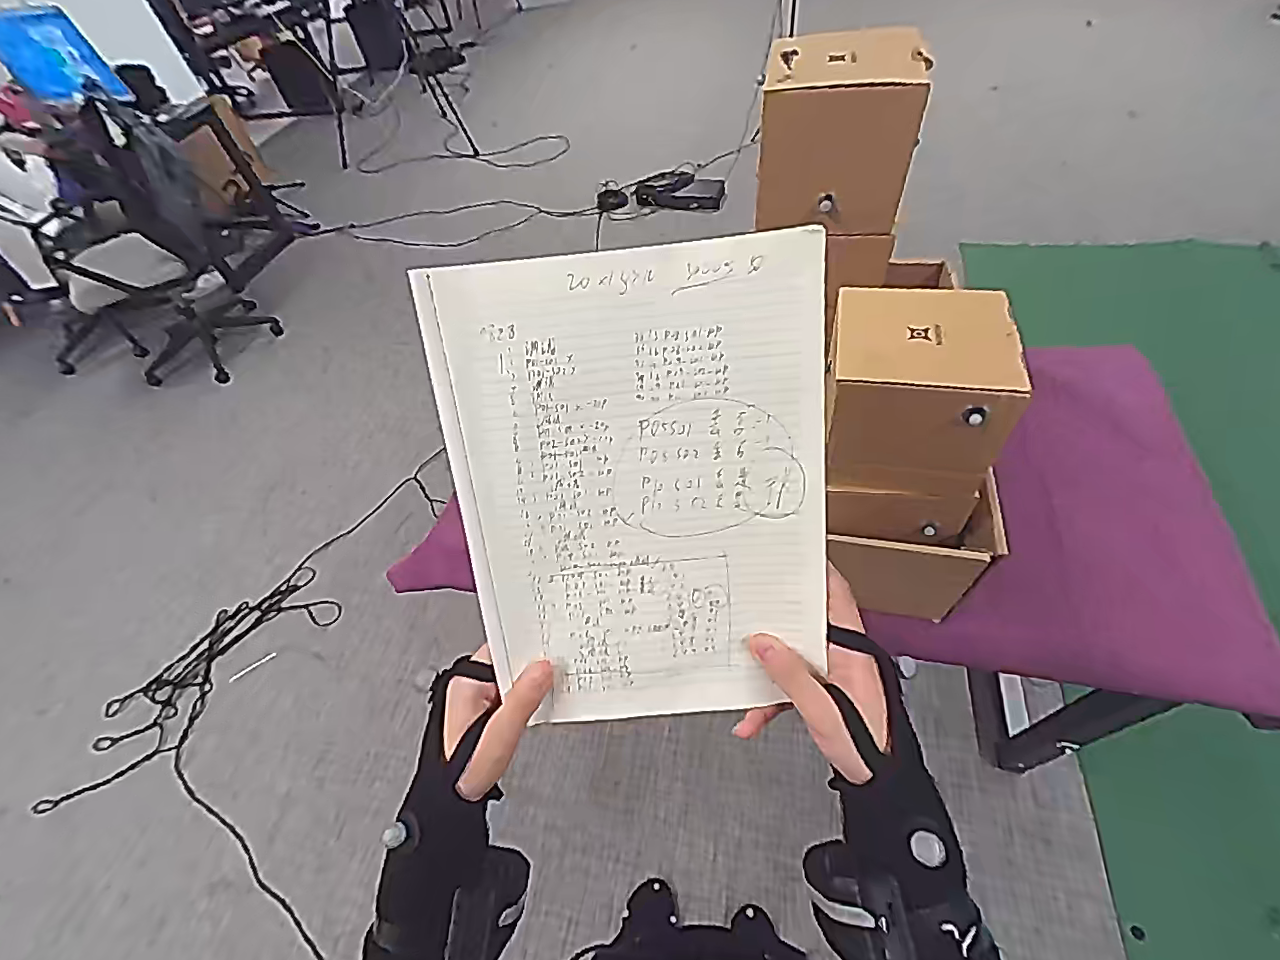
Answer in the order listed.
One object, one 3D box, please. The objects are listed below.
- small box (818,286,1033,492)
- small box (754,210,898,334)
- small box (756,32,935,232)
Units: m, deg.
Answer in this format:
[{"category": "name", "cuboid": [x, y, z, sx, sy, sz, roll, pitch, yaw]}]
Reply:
[{"category": "small box", "cuboid": [0.308, -0.103, 0.626, 0.179, 0.176, 0.168, 7, 52, 14]}, {"category": "small box", "cuboid": [0.271, -0.337, 0.819, 0.179, 0.176, 0.168, 5, 54, 12]}, {"category": "small box", "cuboid": [0.251, -0.438, 0.691, 0.179, 0.176, 0.168, 7, 54, 12]}]
